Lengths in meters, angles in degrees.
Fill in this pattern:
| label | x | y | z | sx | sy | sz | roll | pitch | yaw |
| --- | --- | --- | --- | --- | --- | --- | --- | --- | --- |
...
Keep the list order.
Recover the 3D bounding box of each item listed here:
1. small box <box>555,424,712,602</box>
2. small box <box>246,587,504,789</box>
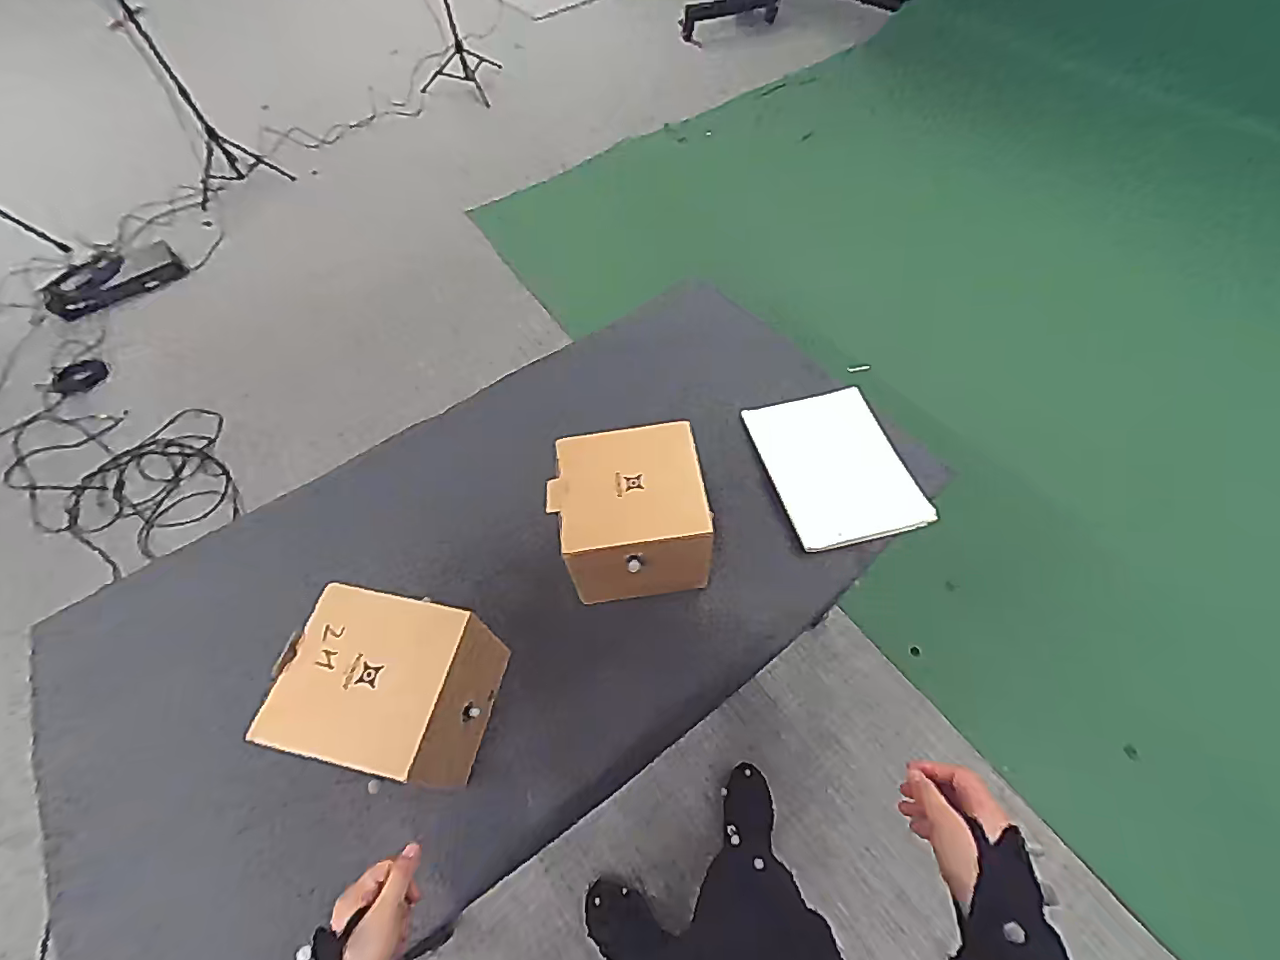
| label | x | y | z | sx | sy | sz | roll | pitch | yaw |
| --- | --- | --- | --- | --- | --- | --- | --- | --- | --- |
| small box | -0.009 | 0.049 | 0.717 | 0.179 | 0.176 | 0.168 | -9 | 58 | -1 |
| small box | -0.276 | 0.241 | 0.616 | 0.179 | 0.176 | 0.168 | 9 | 59 | 9 |
